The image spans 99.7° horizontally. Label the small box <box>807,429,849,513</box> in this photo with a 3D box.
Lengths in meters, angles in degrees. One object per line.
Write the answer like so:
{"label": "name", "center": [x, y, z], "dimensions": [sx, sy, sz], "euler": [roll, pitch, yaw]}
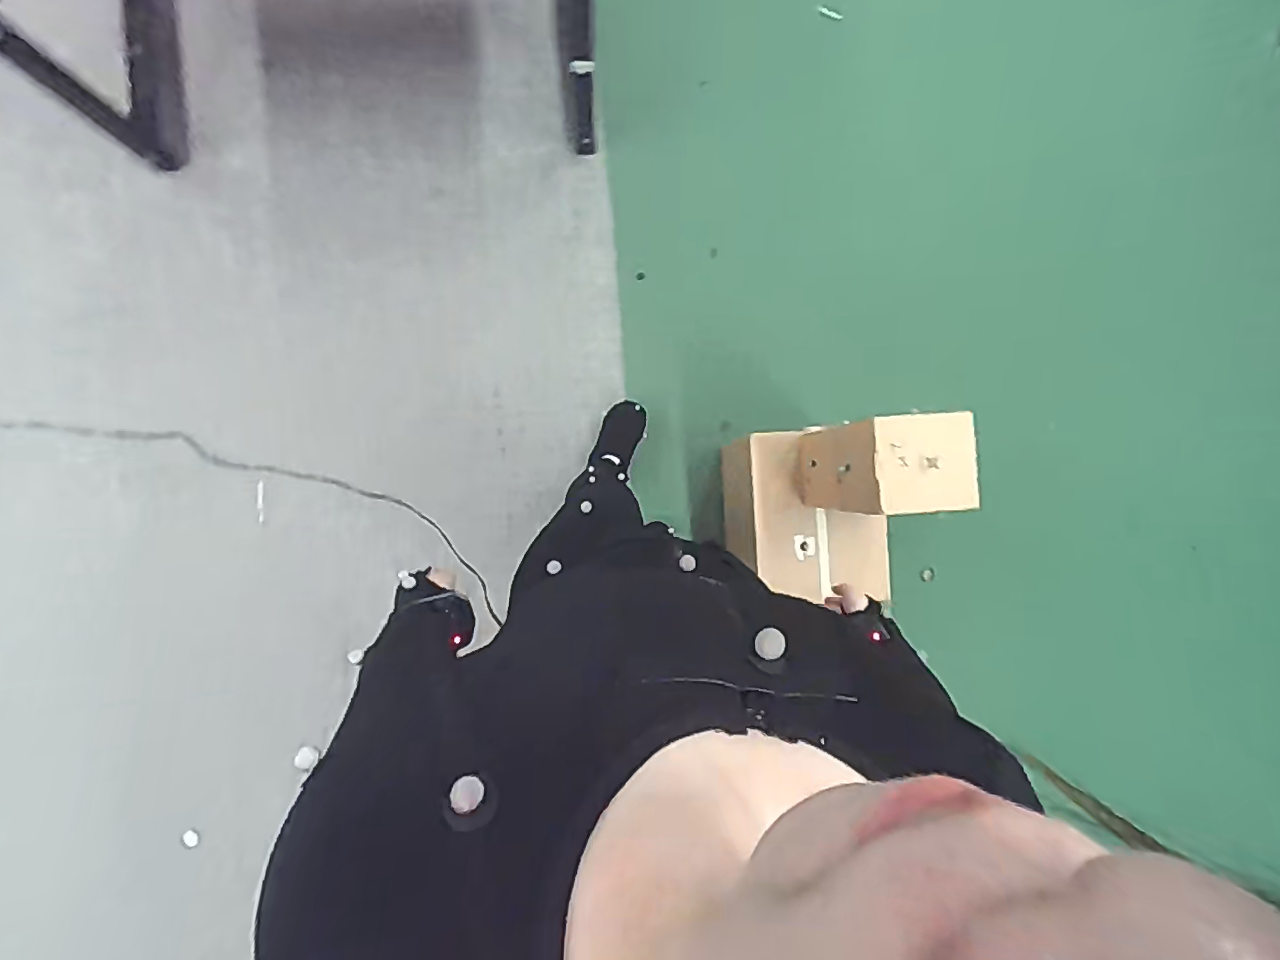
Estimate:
{"label": "small box", "center": [0.468, -0.020, 1.133], "dimensions": [0.179, 0.176, 0.168], "euler": [-2, 89, -4]}

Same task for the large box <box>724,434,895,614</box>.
{"label": "large box", "center": [0.407, 0.095, 1.369], "dimensions": [0.320, 0.320, 0.408], "euler": [-3, 89, -3]}

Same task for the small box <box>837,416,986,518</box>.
{"label": "small box", "center": [0.476, -0.022, 0.968], "dimensions": [0.179, 0.176, 0.168], "euler": [-3, 89, -4]}
